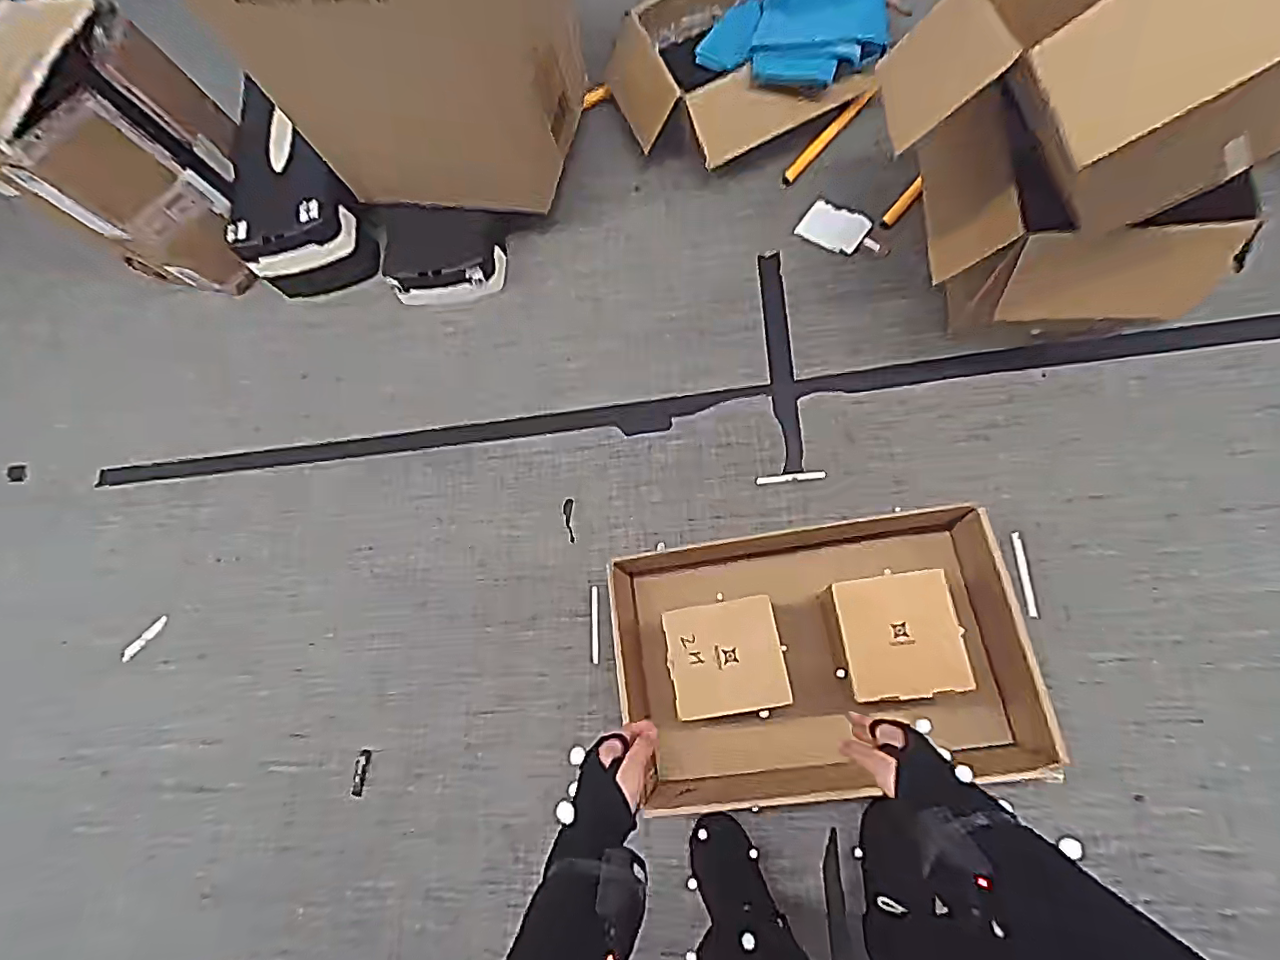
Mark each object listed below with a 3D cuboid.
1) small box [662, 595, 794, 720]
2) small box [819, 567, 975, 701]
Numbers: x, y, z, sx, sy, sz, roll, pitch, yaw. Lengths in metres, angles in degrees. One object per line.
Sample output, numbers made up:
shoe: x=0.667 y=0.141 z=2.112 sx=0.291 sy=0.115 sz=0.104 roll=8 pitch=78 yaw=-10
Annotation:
small box: x=0.142 y=0.291 z=0.900 sx=0.179 sy=0.176 sz=0.168 roll=-11 pitch=72 yaw=6
small box: x=0.396 y=0.246 z=0.868 sx=0.168 sy=0.176 sz=0.179 roll=-10 pitch=73 yaw=8
